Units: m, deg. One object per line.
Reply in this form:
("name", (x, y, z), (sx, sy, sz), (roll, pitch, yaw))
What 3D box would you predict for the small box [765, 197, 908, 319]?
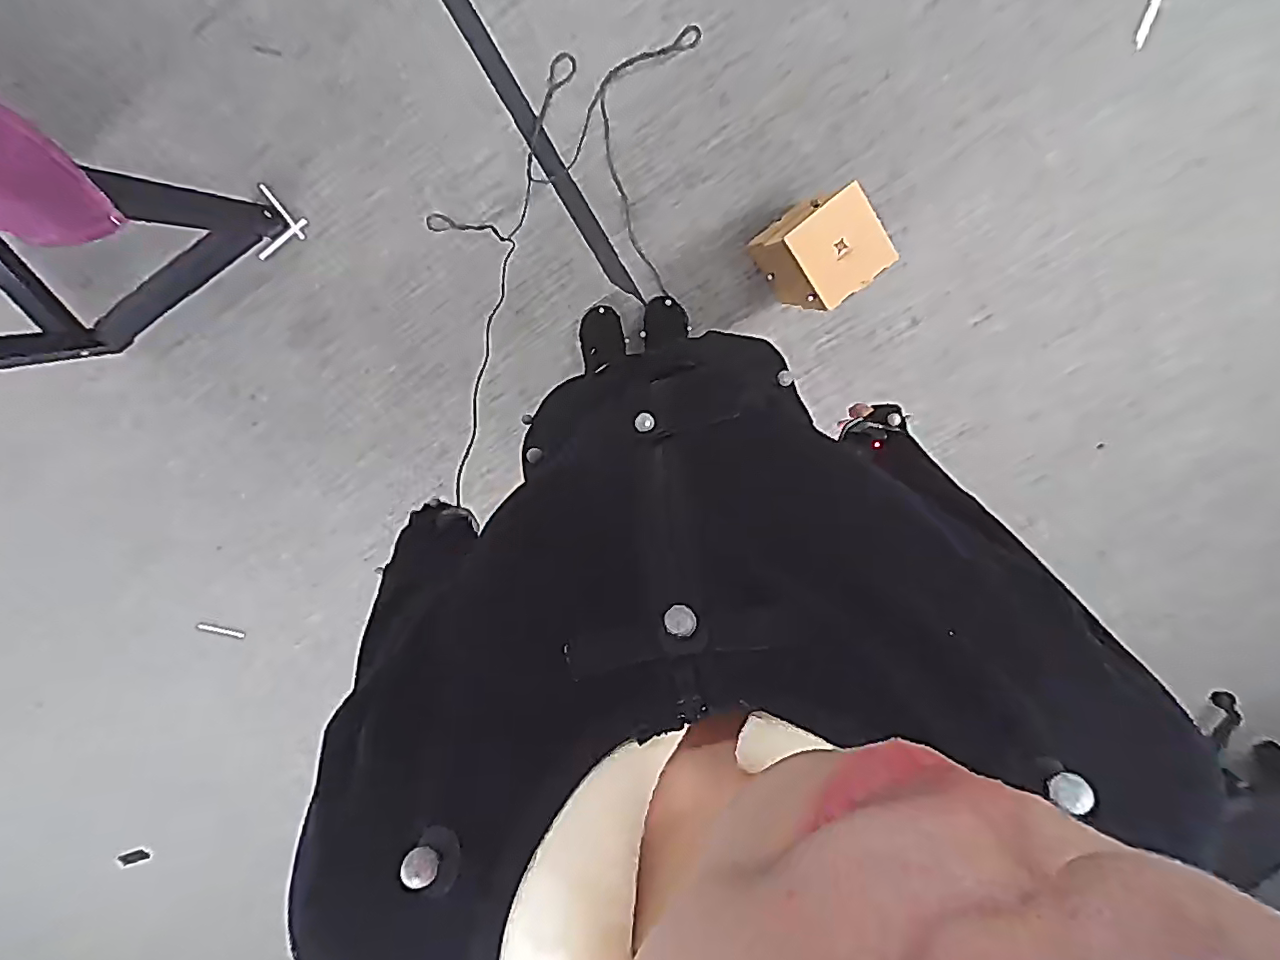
("small box", (0.395, -0.442, 1.087), (0.179, 0.176, 0.168), (-48, 125, -4))
